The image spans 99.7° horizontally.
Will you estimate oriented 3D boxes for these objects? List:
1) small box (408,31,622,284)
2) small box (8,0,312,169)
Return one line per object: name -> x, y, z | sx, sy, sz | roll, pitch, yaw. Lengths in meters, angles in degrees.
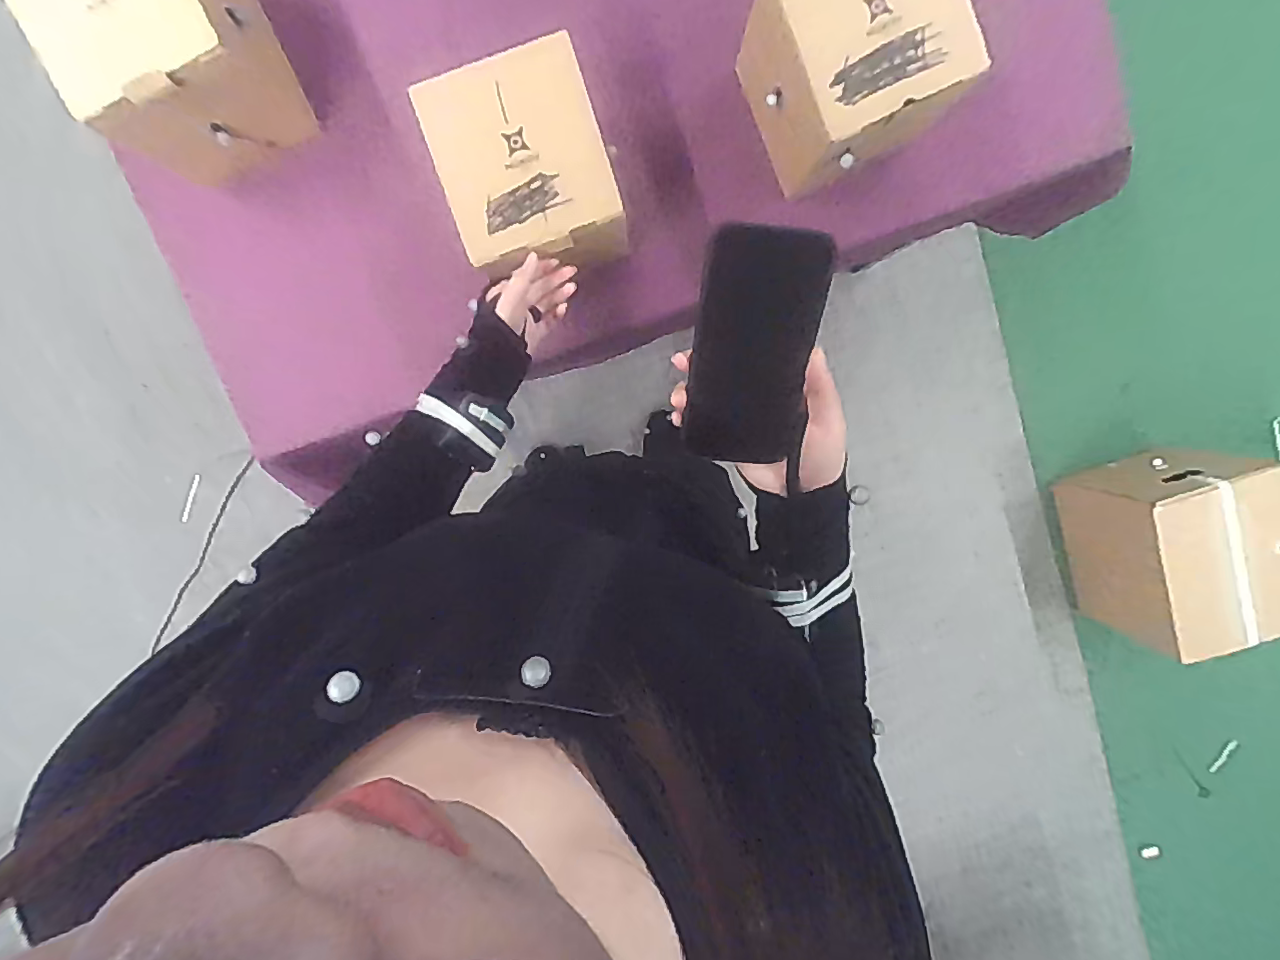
small box -> -0.121, -0.334, 0.607 | 0.168, 0.176, 0.179 | -18, 98, 2
small box -> -0.502, -0.468, 0.581 | 0.168, 0.176, 0.179 | -24, 100, 3
